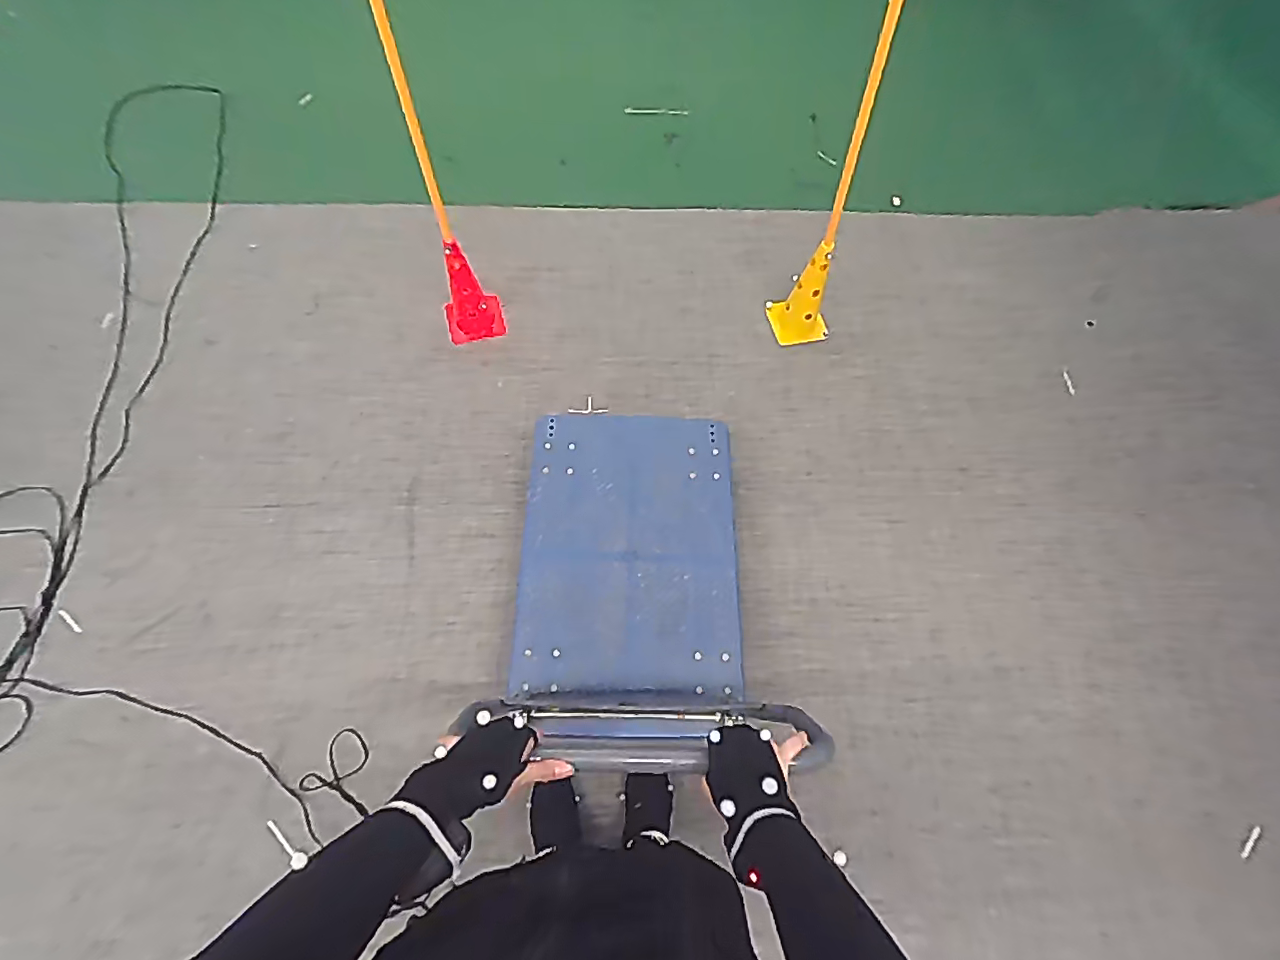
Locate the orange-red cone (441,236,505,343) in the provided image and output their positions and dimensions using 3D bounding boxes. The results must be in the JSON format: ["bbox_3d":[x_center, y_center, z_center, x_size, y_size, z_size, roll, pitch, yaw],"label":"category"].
[{"bbox_3d":[-0.597,-0.659,1.813,0.199,0.360,0.198,-15,66,-7],"label":"orange-red cone"}]
